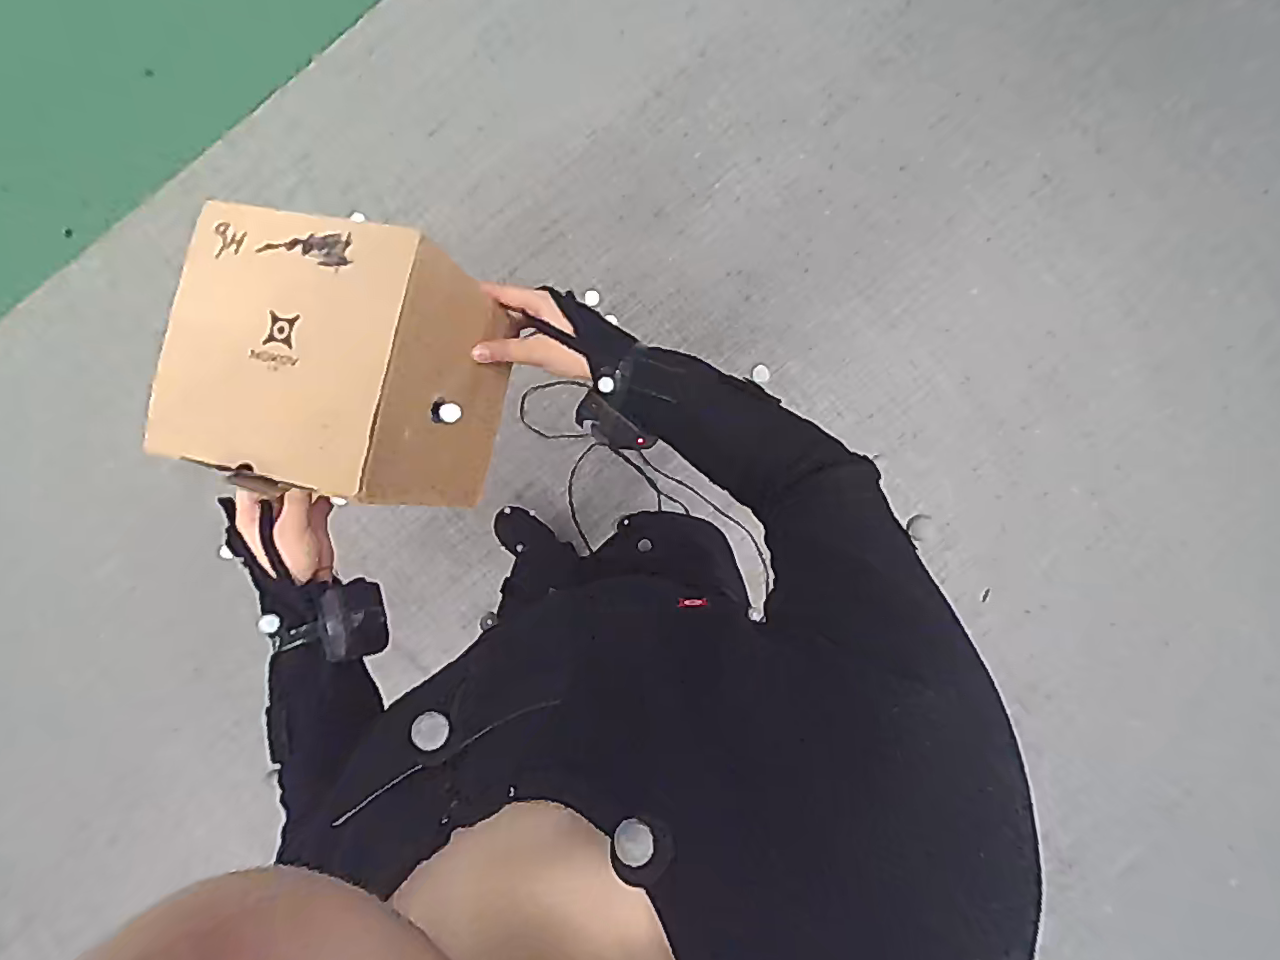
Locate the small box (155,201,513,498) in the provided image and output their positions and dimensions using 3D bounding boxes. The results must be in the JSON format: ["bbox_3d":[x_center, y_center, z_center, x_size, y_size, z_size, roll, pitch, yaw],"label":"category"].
[{"bbox_3d":[-0.219,-0.085,0.431,0.168,0.176,0.179,12,89,9],"label":"small box"}]
